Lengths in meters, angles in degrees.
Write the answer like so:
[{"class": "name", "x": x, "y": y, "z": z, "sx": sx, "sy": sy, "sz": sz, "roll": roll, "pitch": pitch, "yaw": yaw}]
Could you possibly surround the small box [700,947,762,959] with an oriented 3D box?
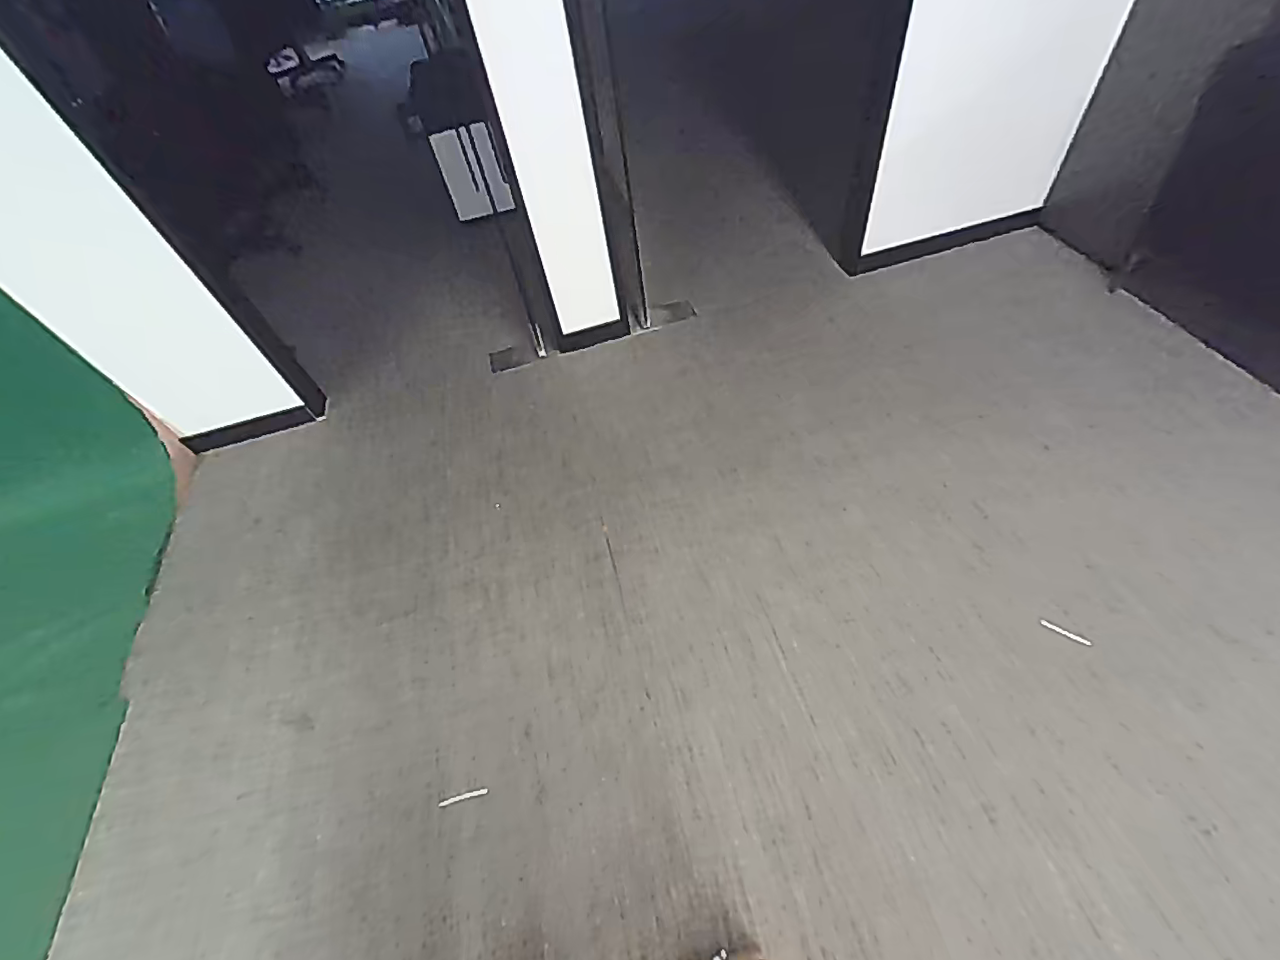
[{"class": "small box", "x": 0.141, "y": 0.885, "z": 0.865, "sx": 0.168, "sy": 0.176, "sz": 0.179, "roll": -14, "pitch": 52, "yaw": -2}]
